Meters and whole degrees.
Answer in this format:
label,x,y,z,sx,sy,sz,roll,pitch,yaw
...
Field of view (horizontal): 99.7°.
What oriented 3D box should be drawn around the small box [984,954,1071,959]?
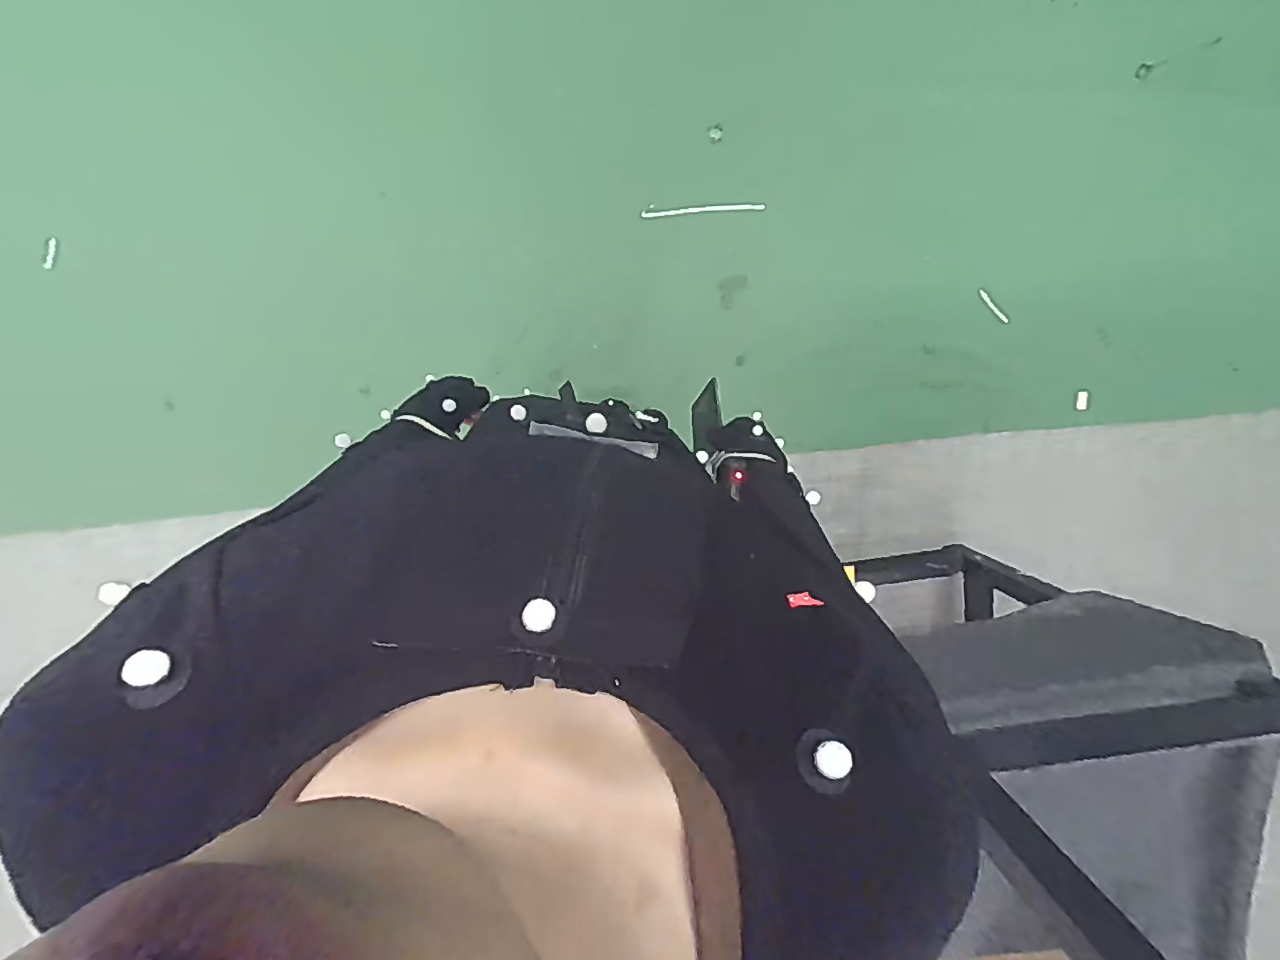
label,x,y,z,sx,sy,sz,roll,pitch,yaw
small box,0.645,0.875,0.829,0.168,0.176,0.179,-4,99,-2
